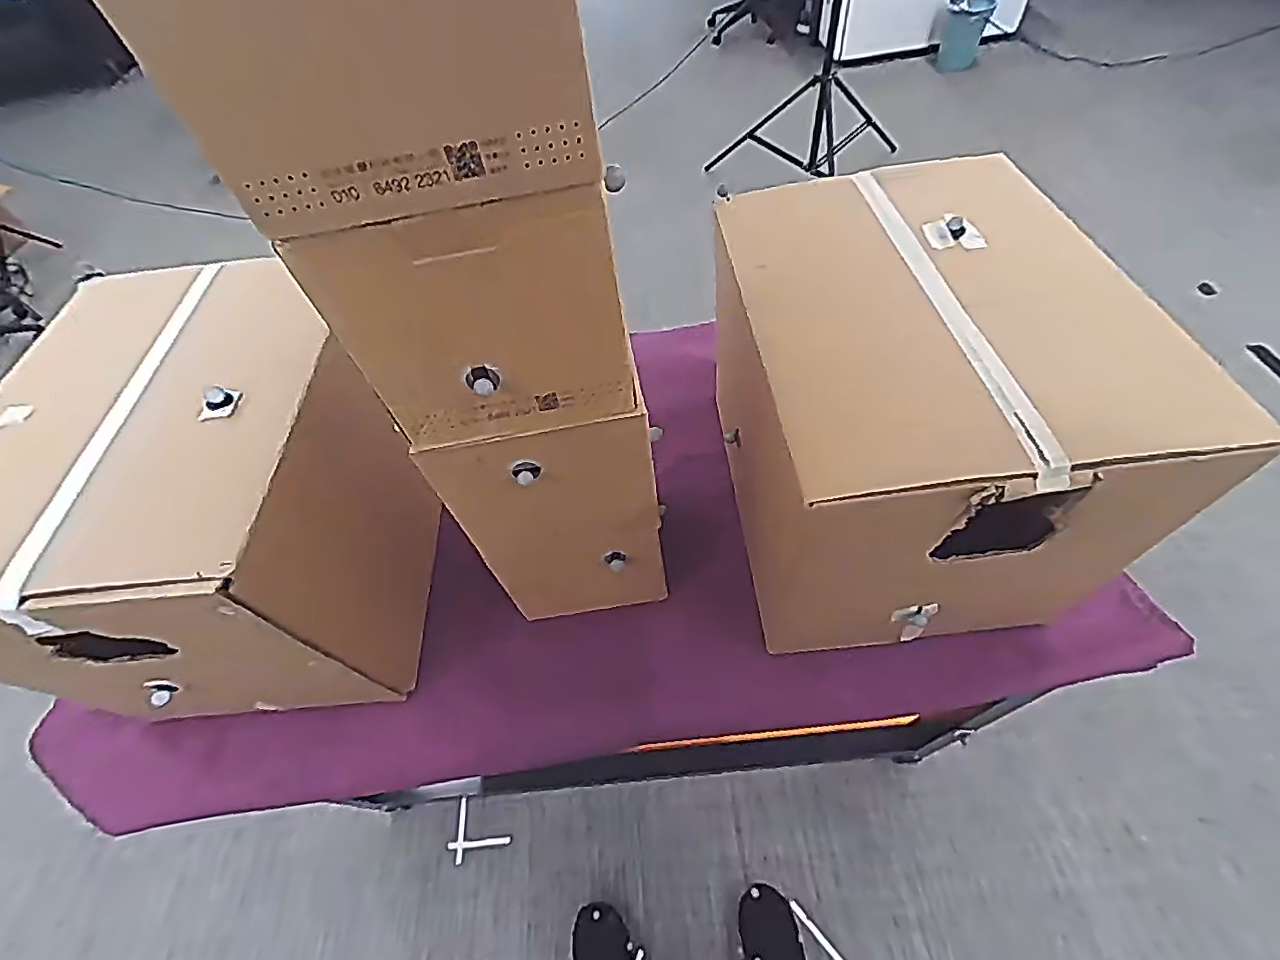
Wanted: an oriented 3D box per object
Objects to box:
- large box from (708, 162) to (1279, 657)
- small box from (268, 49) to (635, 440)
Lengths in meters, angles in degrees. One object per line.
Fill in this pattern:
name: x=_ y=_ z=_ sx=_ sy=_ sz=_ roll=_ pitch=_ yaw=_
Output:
large box: x=0.261 y=-0.071 z=0.582 sx=0.320 sy=0.320 sz=0.408 roll=-7 pitch=53 yaw=2
small box: x=-0.101 y=-0.154 z=0.369 sx=0.168 sy=0.176 sz=0.179 roll=-11 pitch=55 yaw=-1
